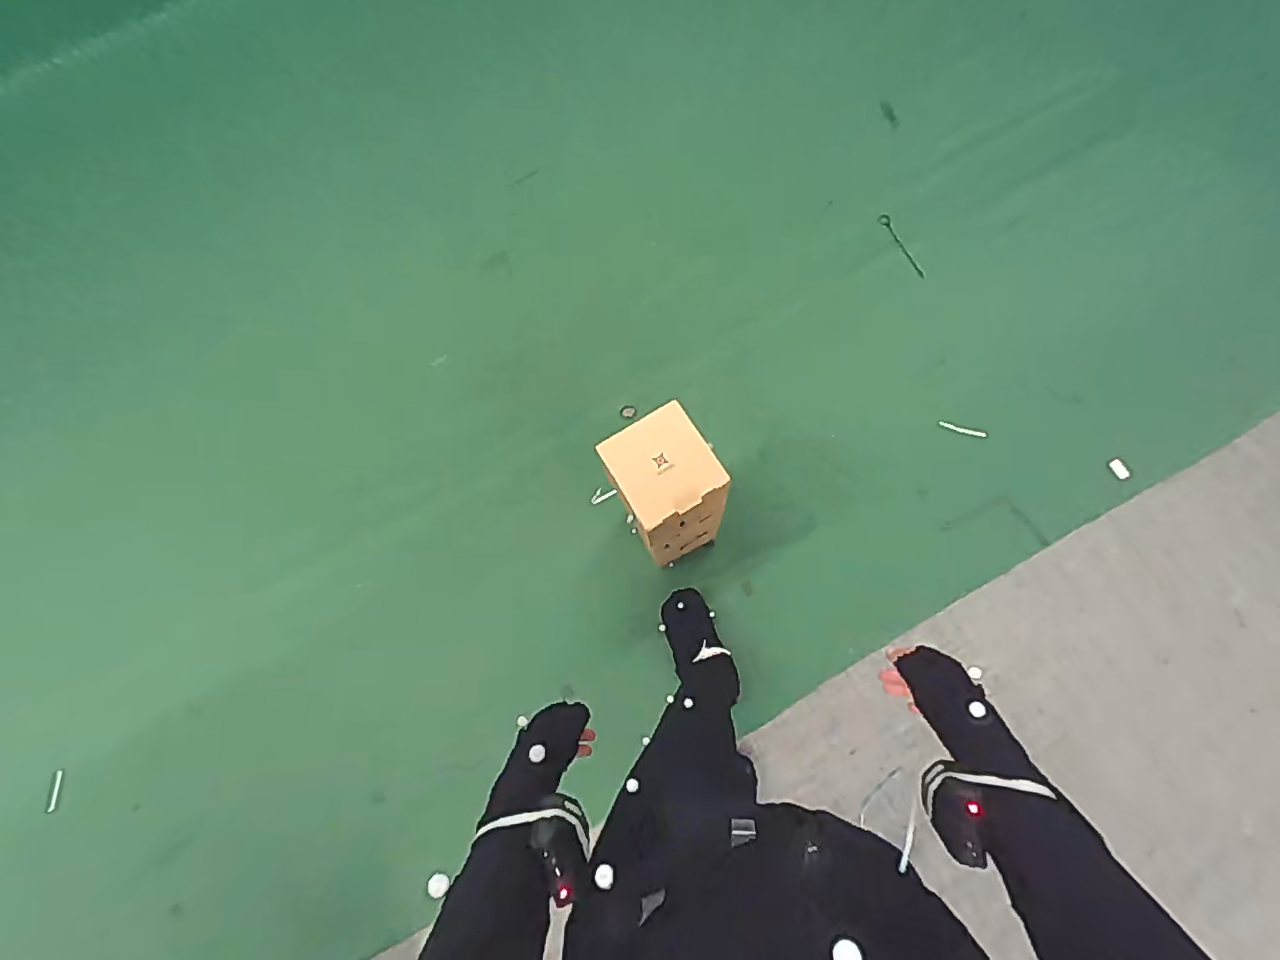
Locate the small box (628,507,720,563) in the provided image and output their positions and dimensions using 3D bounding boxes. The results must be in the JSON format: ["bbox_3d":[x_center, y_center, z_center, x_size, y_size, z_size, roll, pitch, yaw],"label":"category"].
[{"bbox_3d":[0.077,0.088,1.301,0.168,0.176,0.179,-28,74,-4],"label":"small box"}]

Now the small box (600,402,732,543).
[{"bbox_3d":[0.046,-0.005,0.988,0.168,0.176,0.179,-31,74,-5],"label":"small box"}]
